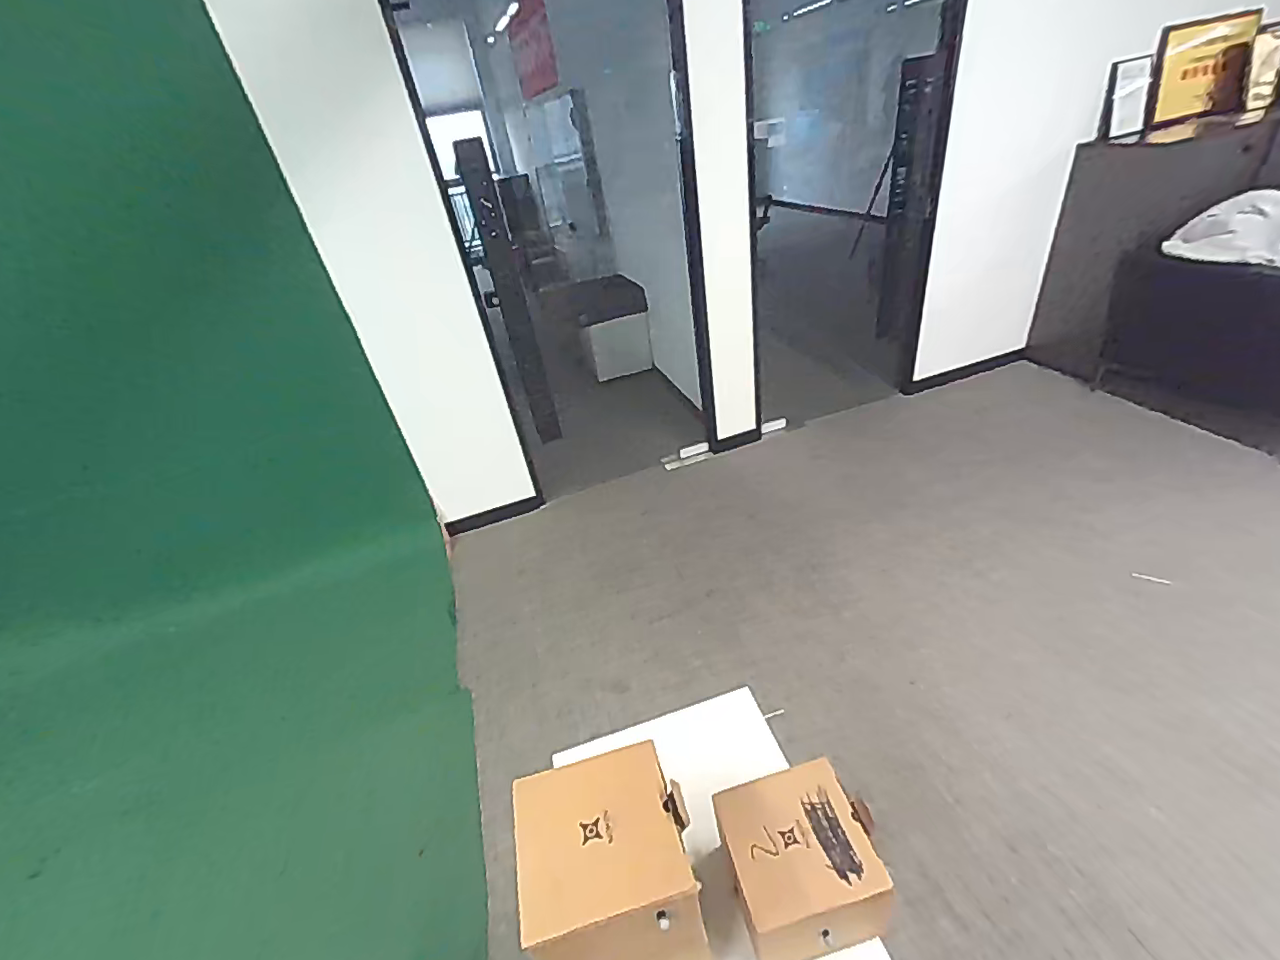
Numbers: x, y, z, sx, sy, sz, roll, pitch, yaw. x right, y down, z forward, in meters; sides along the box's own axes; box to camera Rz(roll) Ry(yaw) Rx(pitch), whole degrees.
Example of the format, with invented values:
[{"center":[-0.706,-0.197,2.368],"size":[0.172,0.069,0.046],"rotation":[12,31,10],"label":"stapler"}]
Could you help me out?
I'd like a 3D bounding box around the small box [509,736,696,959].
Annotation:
[{"center":[-0.044,0.442,0.631],"size":[0.179,0.176,0.168],"rotation":[-13,34,-9],"label":"small box"}]
